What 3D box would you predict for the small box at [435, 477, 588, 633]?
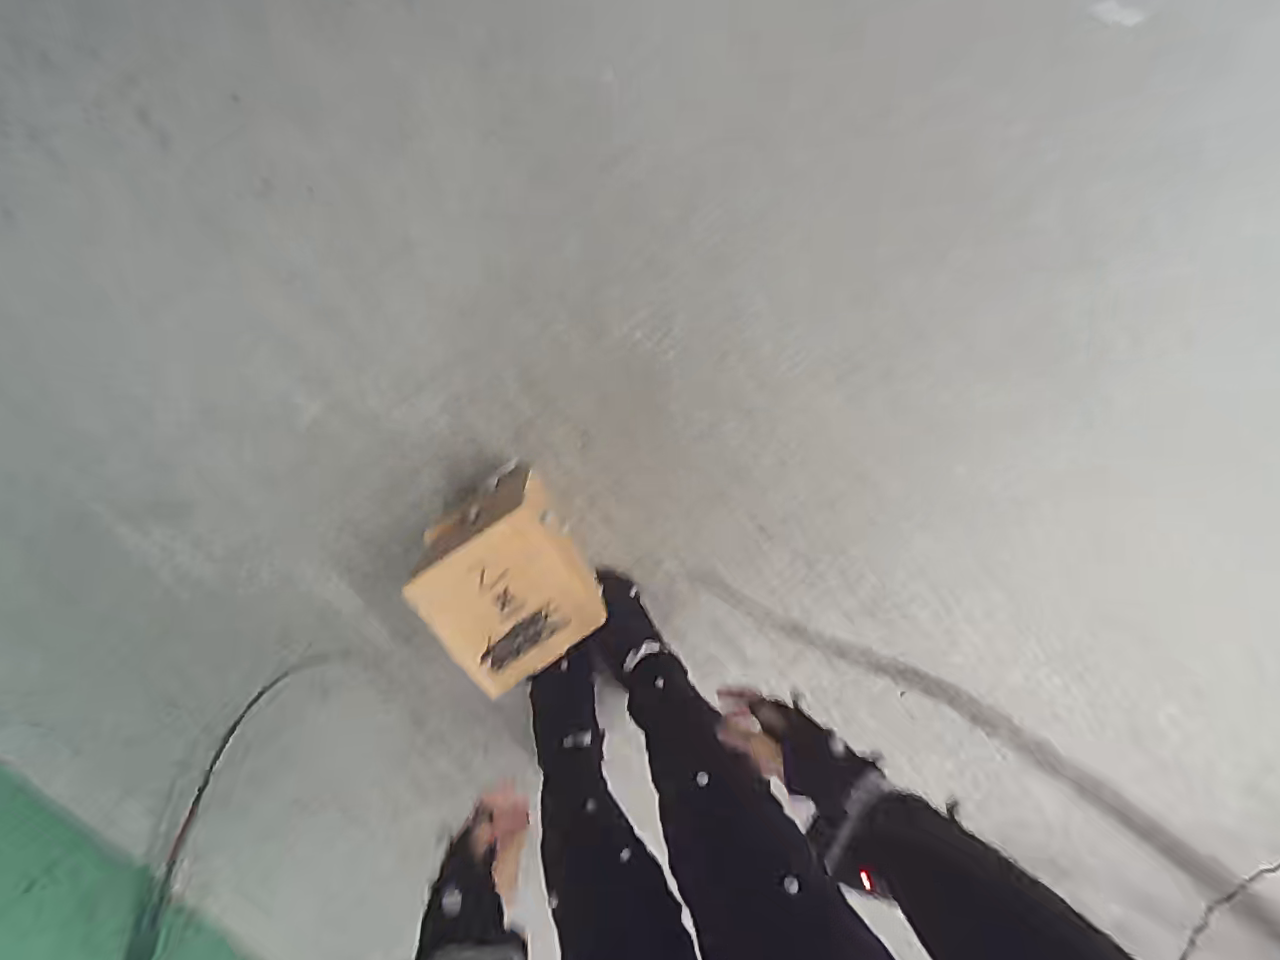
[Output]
[{"bbox_3d":[-0.201,0.106,0.868,0.168,0.176,0.179,-27,103,-6],"label":"small box"}]
